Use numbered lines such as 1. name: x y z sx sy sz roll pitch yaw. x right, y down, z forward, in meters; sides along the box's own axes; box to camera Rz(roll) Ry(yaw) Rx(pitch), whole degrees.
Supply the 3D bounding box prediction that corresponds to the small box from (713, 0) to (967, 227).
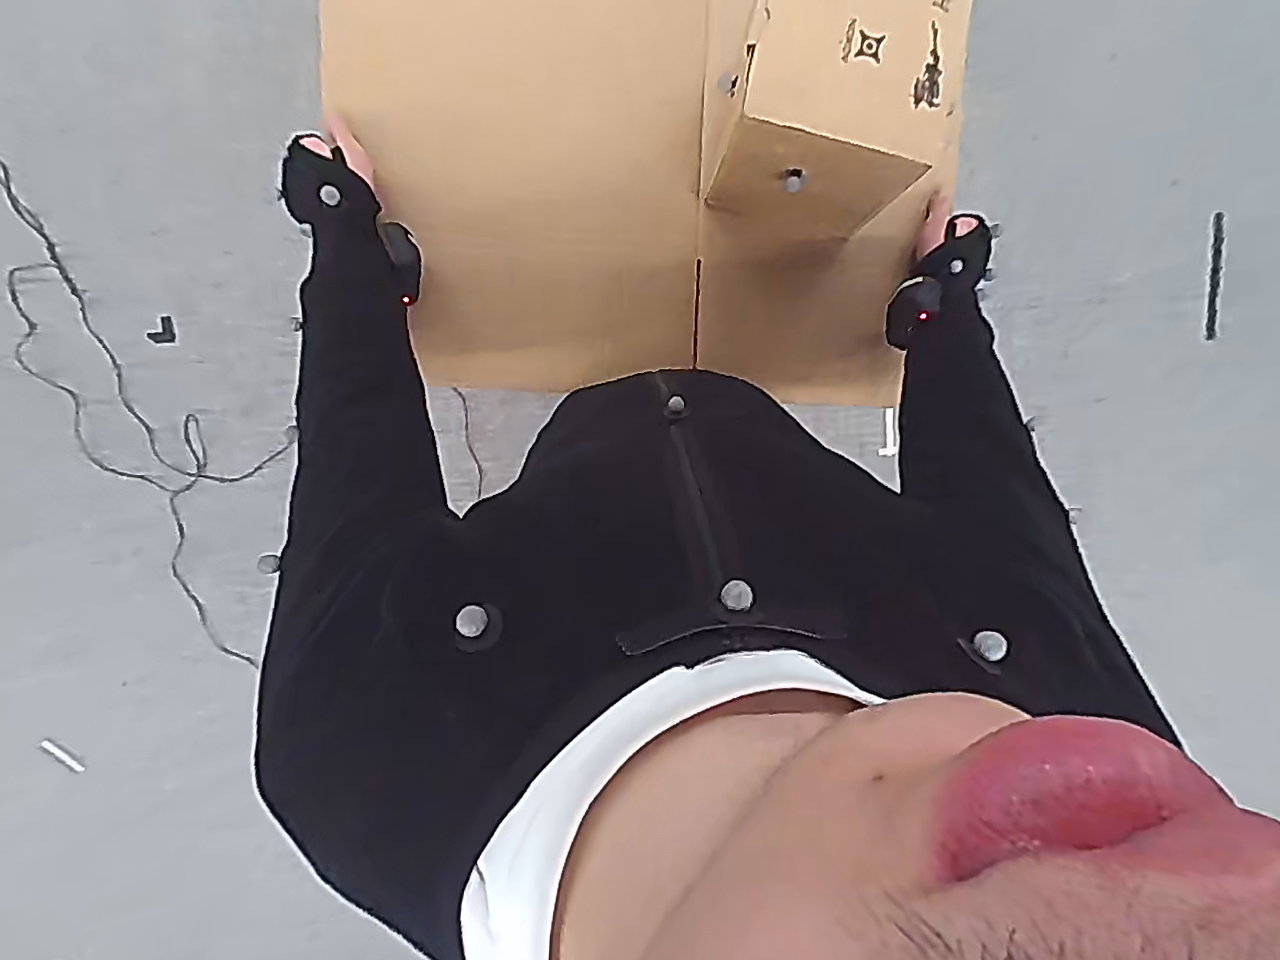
1. small box: 0.181 -0.378 0.539 0.179 0.176 0.168 12 93 -3
